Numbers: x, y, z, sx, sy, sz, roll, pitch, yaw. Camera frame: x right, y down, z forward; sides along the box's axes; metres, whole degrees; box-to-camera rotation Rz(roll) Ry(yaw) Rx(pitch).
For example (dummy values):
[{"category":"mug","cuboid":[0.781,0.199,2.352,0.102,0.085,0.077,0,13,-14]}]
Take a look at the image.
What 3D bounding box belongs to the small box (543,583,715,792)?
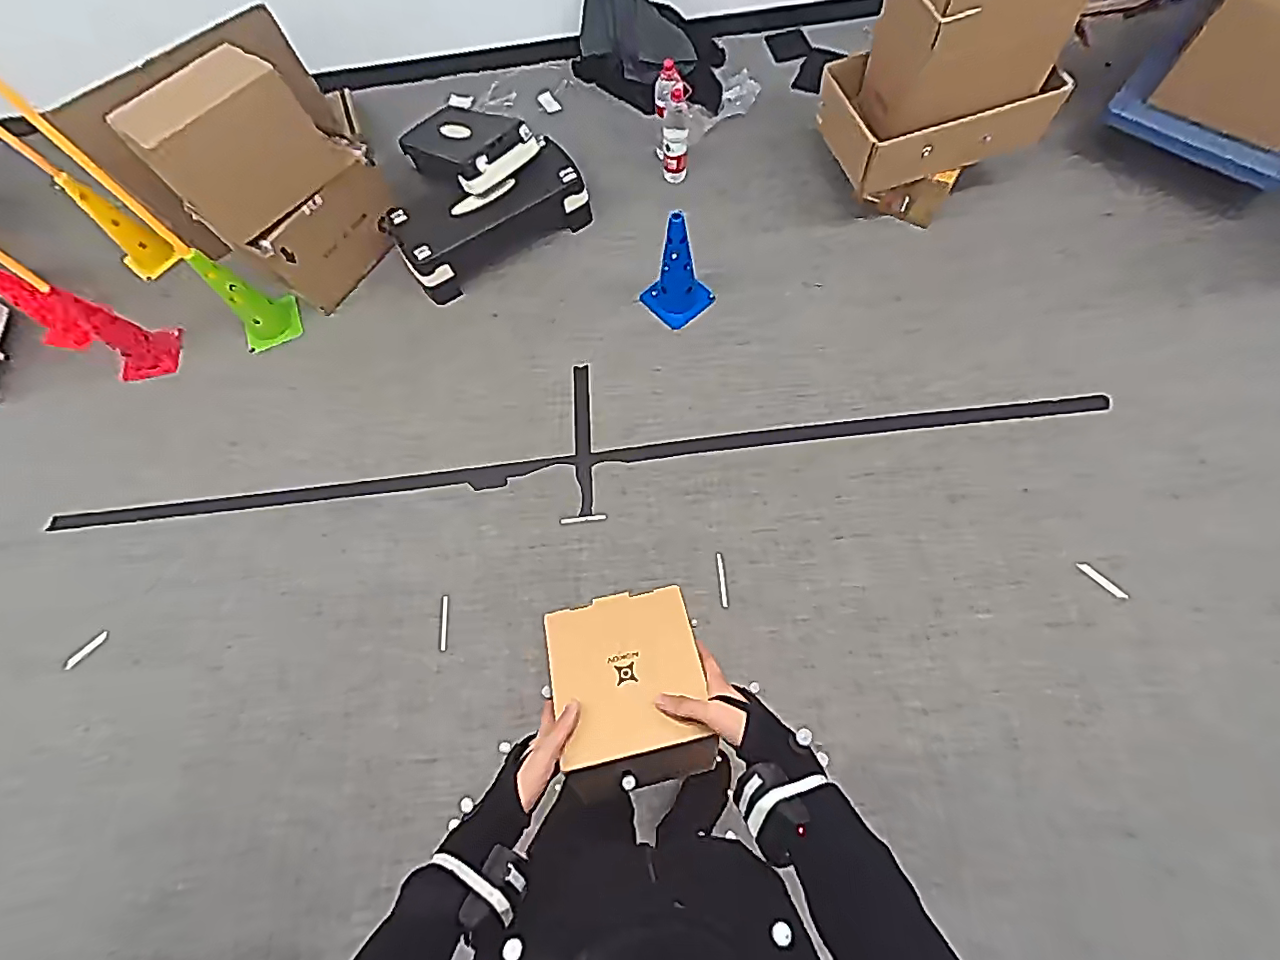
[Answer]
[{"category":"small box","cuboid":[-0.012,0.254,0.646,0.168,0.176,0.179,-12,49,-4]}]
